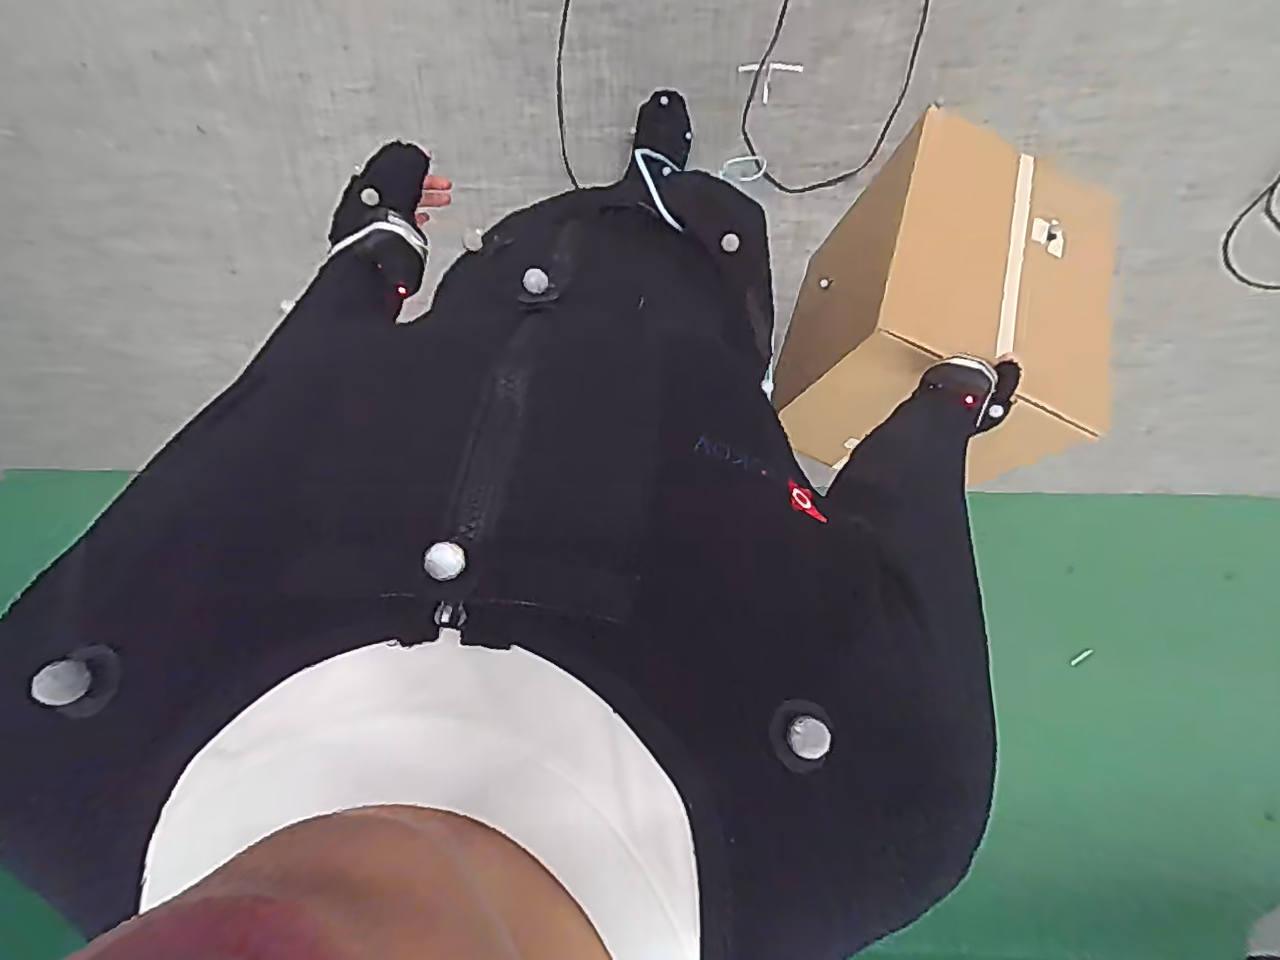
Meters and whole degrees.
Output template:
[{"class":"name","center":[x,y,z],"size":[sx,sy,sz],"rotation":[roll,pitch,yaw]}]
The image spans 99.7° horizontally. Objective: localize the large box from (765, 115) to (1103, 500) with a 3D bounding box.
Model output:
[{"class":"large box","center":[0.436,-0.234,0.836],"size":[0.320,0.408,0.320],"rotation":[24,159,-7]}]
